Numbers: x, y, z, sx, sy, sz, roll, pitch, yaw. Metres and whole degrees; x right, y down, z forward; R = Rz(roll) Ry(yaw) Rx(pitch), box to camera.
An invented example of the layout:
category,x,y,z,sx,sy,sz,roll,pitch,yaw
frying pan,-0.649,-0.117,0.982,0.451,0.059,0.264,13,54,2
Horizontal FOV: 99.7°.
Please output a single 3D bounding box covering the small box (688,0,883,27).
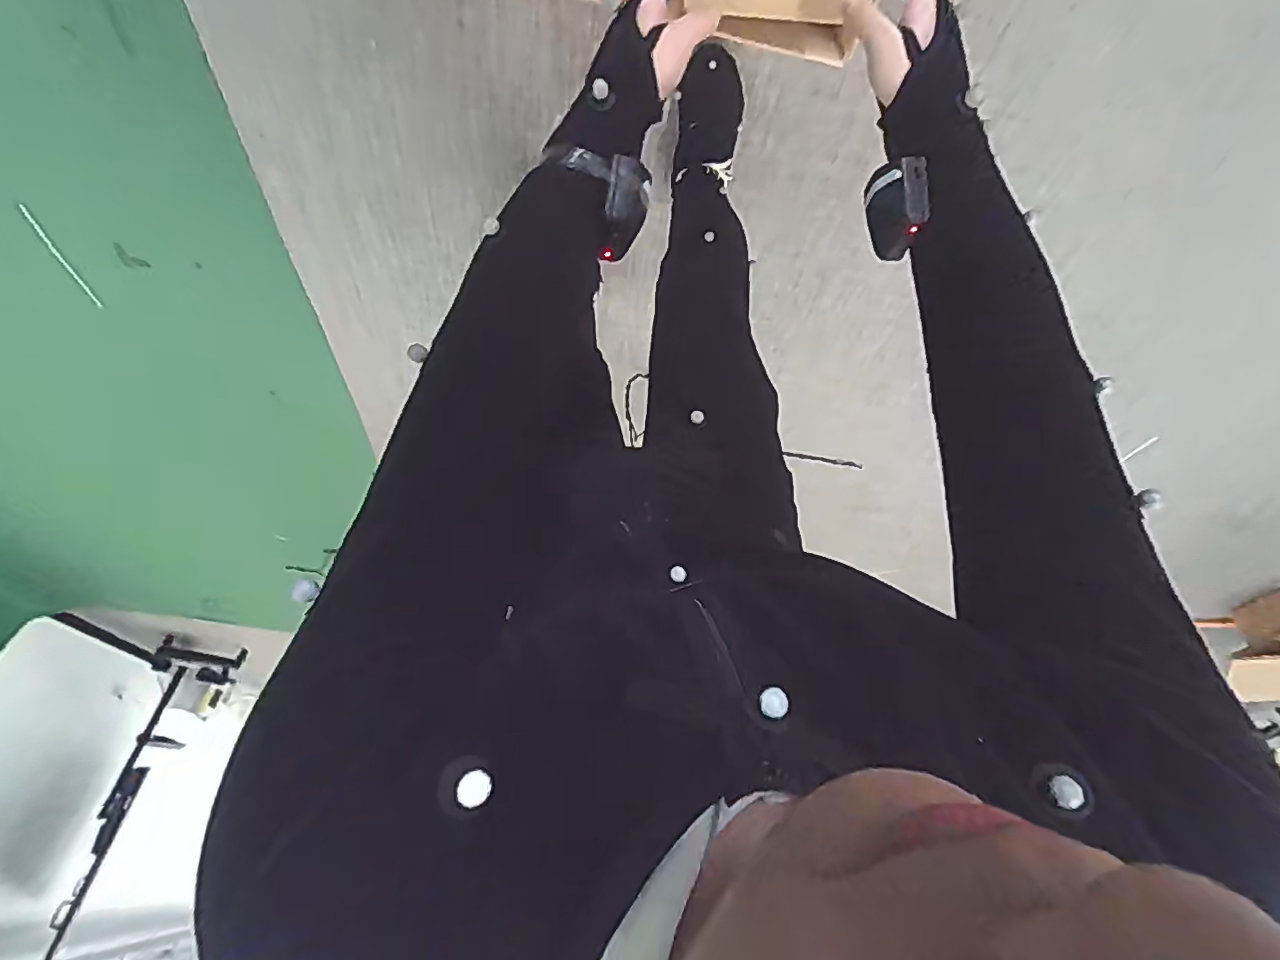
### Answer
category,x,y,z,sx,sy,sz,roll,pitch,yaw
small box,0.140,-0.536,0.475,0.179,0.176,0.168,6,145,1
